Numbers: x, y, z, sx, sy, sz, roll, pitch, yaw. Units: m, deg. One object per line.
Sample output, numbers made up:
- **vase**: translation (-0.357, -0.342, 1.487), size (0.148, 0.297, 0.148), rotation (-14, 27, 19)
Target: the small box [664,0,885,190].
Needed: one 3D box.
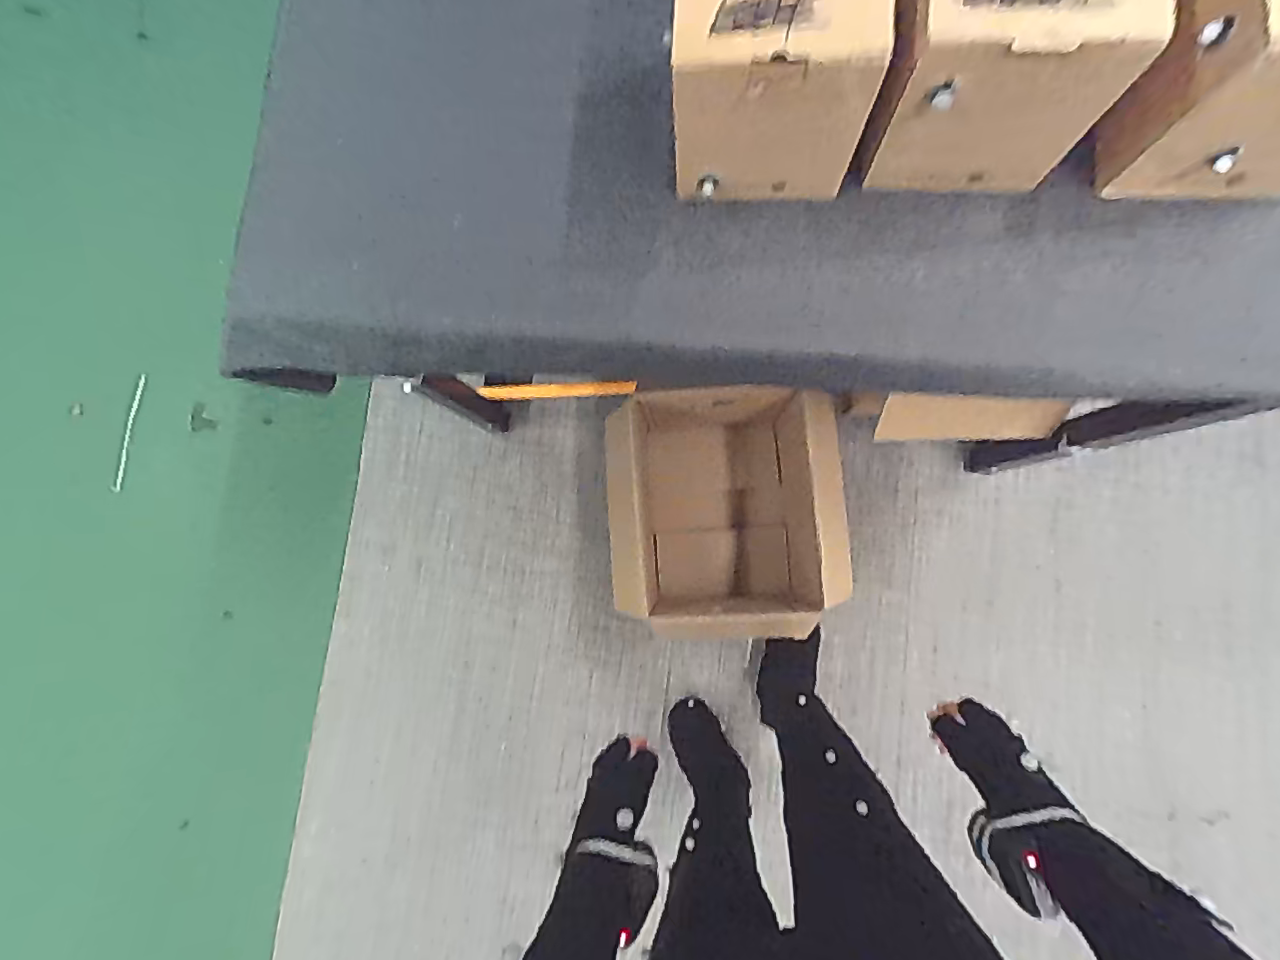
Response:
- **small box**: translation (0.113, -0.393, 0.495), size (0.168, 0.176, 0.179), rotation (2, 84, 5)

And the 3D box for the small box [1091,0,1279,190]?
- **small box**: translation (0.523, -0.378, 0.453), size (0.168, 0.176, 0.179), rotation (3, 85, 6)
